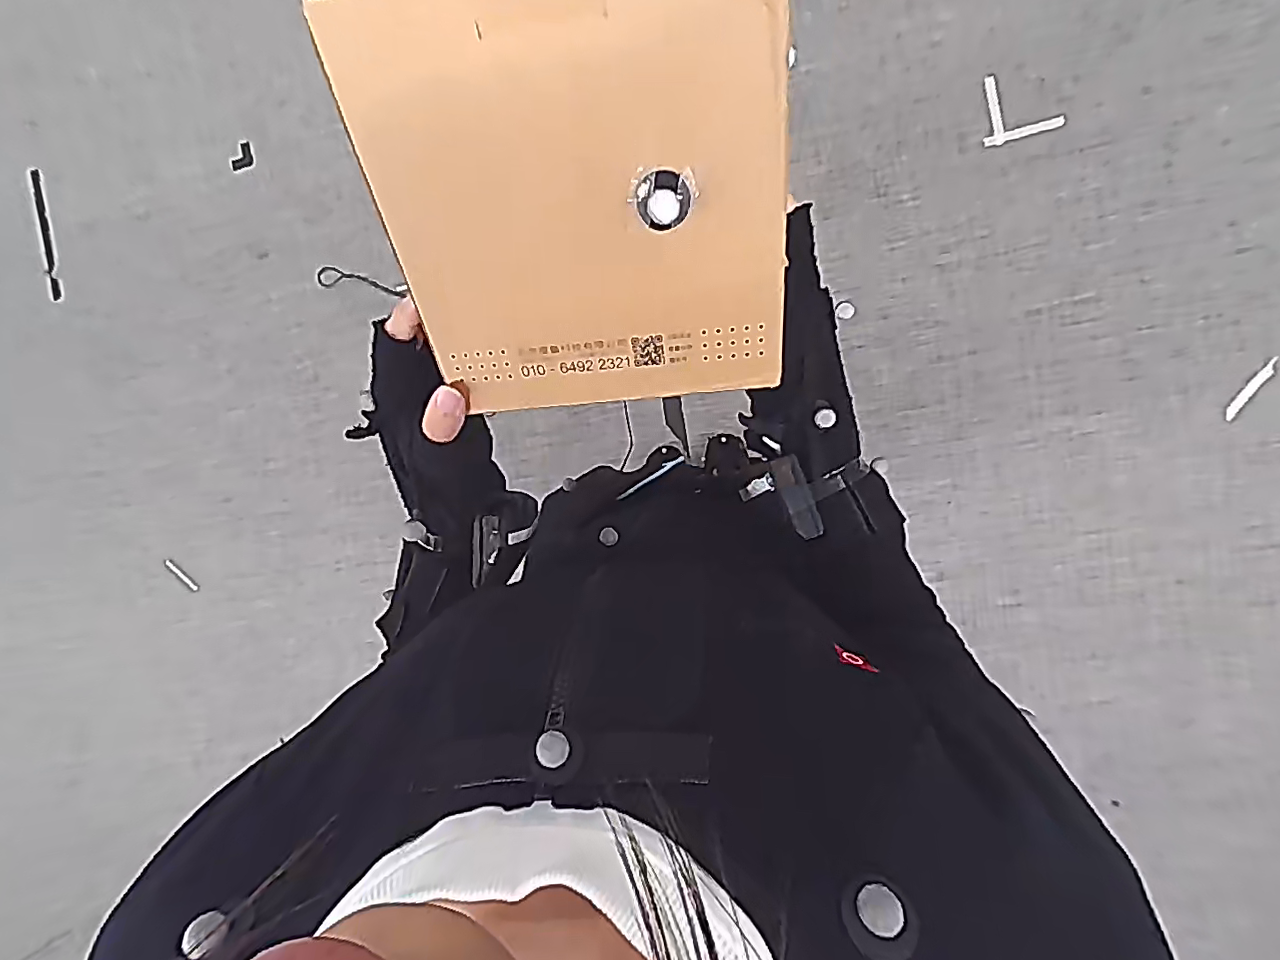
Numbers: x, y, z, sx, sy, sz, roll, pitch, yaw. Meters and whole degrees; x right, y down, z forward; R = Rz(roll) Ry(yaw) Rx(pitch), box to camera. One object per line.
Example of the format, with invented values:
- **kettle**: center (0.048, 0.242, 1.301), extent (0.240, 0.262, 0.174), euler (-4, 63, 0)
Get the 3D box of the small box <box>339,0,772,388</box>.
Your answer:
- **small box**: center (-0.016, -0.161, 0.304), extent (0.168, 0.179, 0.176), euler (-3, 128, 8)
